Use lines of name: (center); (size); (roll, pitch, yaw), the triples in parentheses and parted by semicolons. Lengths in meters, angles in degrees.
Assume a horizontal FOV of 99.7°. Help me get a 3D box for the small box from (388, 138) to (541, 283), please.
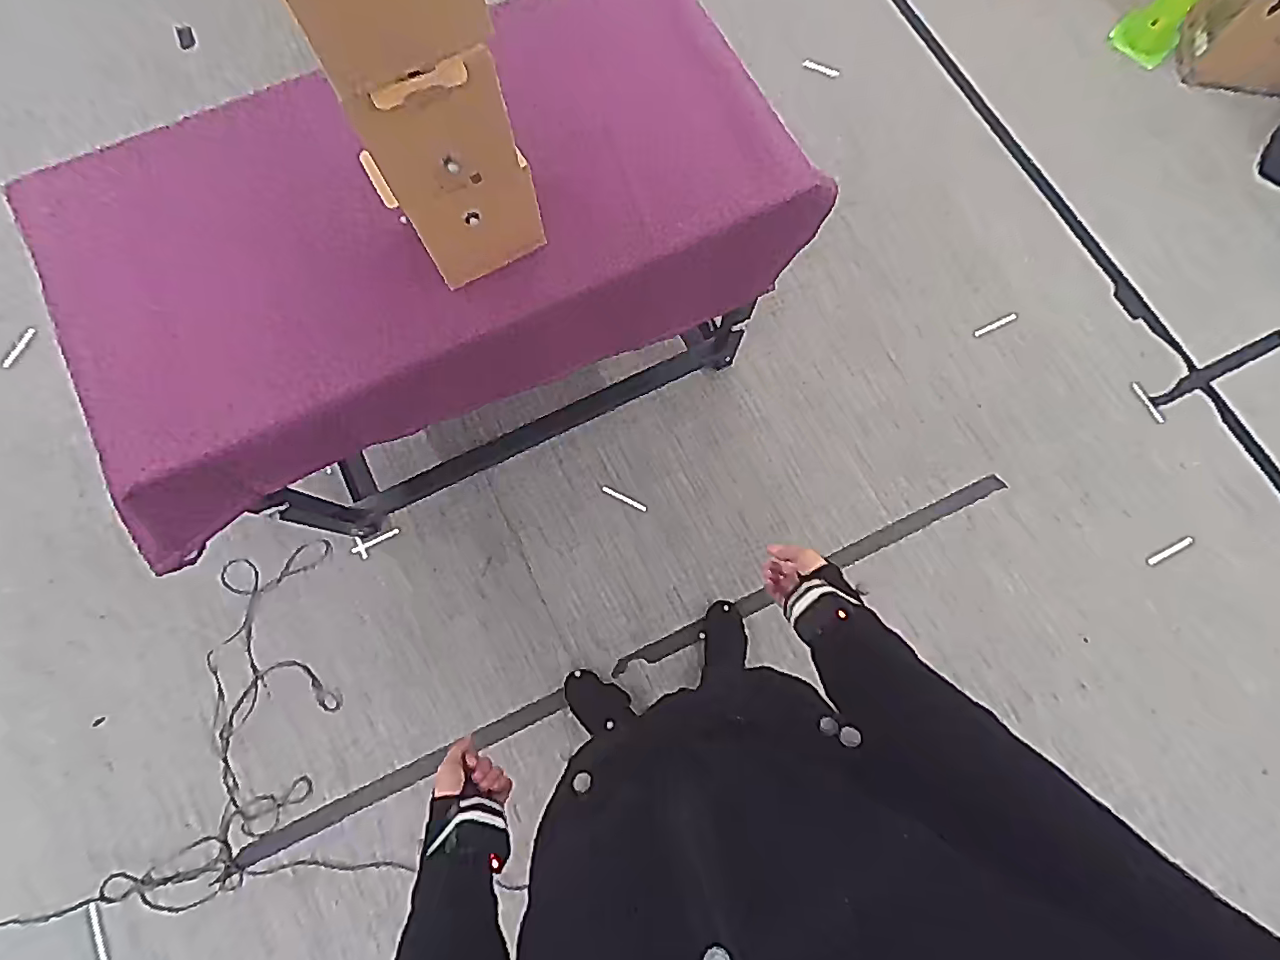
small box: (-0.269, -0.431, 0.809); (0.179, 0.176, 0.168); (-30, 79, -8)

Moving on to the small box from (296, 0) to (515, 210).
small box: (-0.270, -0.472, 0.650); (0.168, 0.176, 0.179); (-24, 78, -5)
